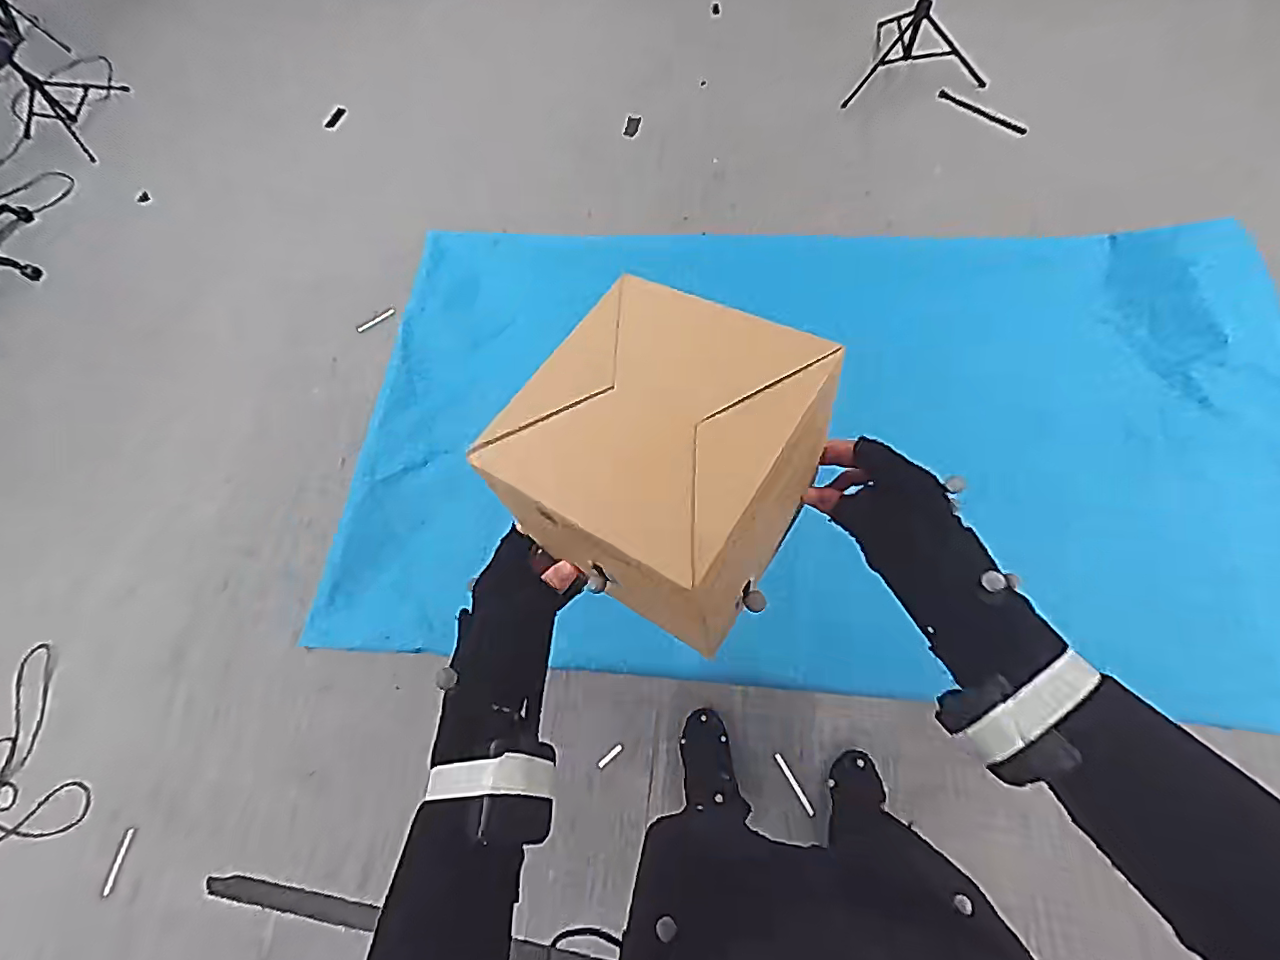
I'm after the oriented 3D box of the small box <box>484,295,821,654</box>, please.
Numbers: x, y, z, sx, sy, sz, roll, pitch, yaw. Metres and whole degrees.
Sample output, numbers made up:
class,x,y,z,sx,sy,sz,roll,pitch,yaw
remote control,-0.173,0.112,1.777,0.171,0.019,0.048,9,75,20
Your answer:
class,x,y,z,sx,sy,sz,roll,pitch,yaw
small box,0.018,-0.003,0.403,0.168,0.176,0.179,26,70,22
